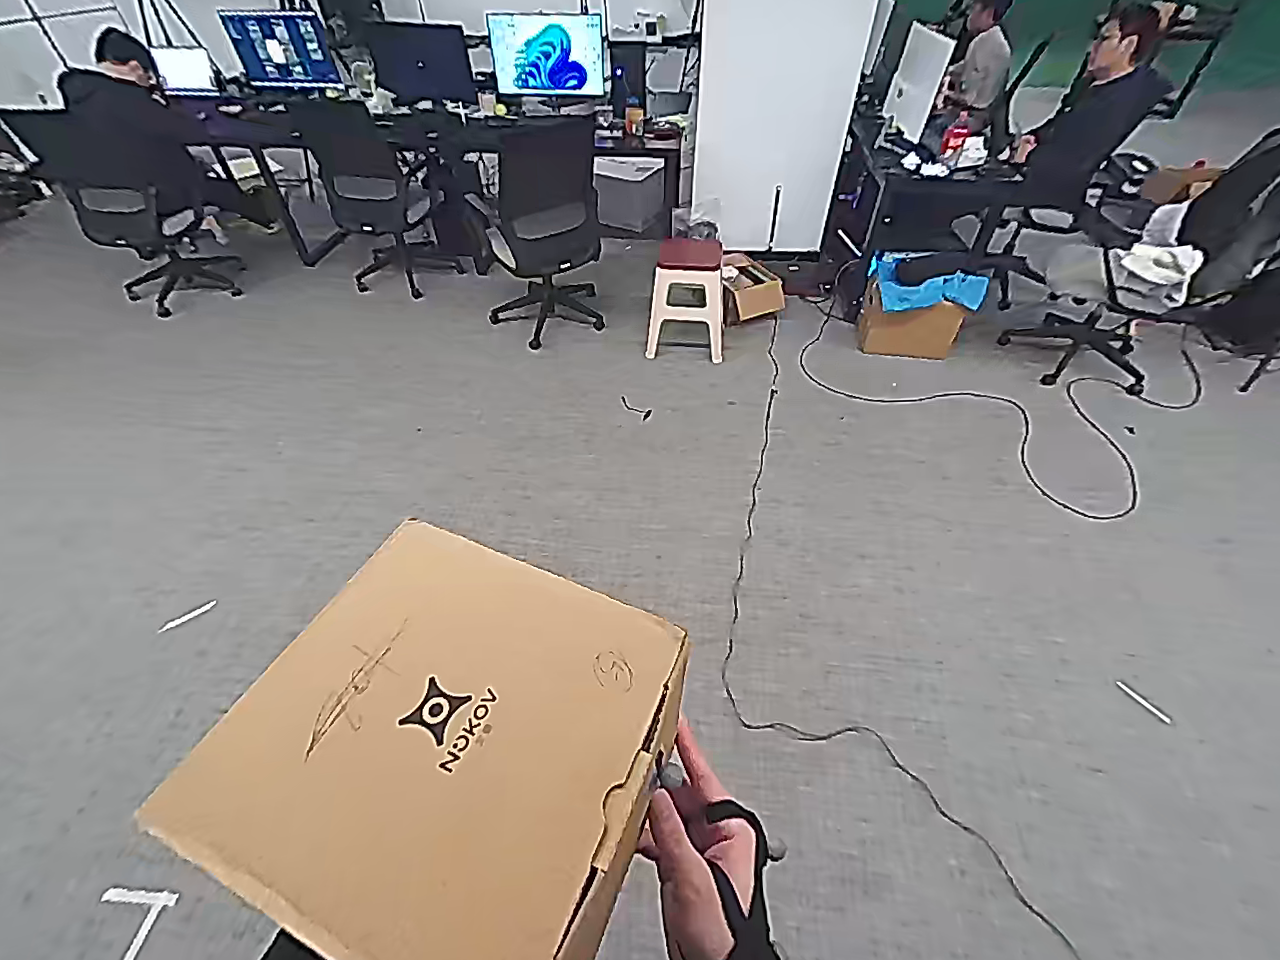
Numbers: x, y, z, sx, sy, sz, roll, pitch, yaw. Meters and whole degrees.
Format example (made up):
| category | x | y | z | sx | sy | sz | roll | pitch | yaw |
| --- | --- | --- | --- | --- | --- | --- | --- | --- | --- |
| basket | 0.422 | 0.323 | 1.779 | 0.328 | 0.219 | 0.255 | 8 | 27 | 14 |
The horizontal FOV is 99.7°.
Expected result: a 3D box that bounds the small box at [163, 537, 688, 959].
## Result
| category | x | y | z | sx | sy | sz | roll | pitch | yaw |
| --- | --- | --- | --- | --- | --- | --- | --- | --- | --- |
| small box | -0.085 | 0.166 | 0.306 | 0.179 | 0.176 | 0.168 | 17 | 49 | 16 |
